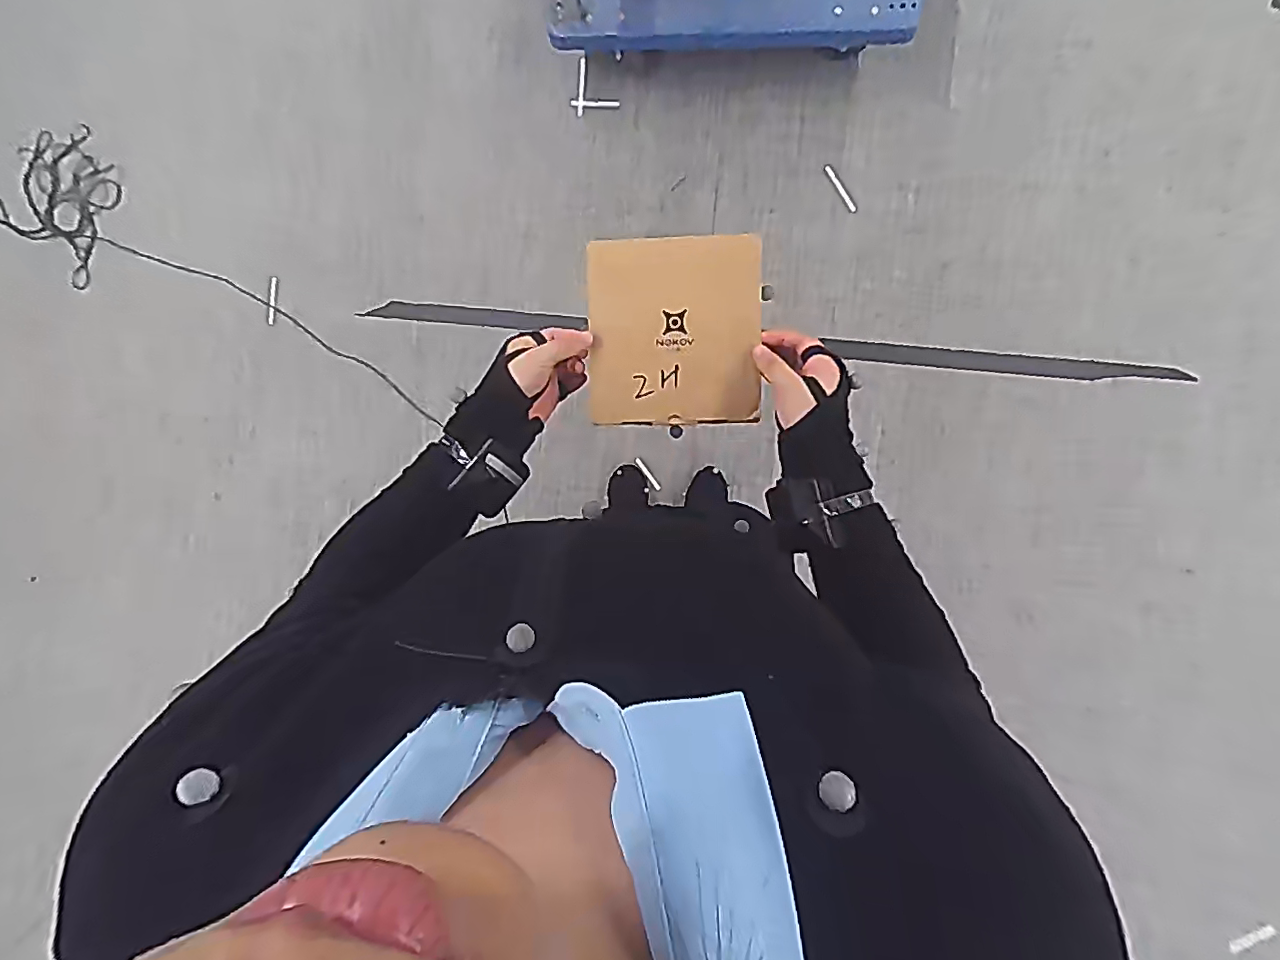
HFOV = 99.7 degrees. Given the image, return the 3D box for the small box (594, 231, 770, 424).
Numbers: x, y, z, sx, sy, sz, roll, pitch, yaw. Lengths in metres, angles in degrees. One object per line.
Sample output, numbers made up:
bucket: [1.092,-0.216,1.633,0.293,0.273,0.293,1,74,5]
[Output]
small box: [0.043,-0.150,0.585,0.168,0.176,0.179,0,97,5]
